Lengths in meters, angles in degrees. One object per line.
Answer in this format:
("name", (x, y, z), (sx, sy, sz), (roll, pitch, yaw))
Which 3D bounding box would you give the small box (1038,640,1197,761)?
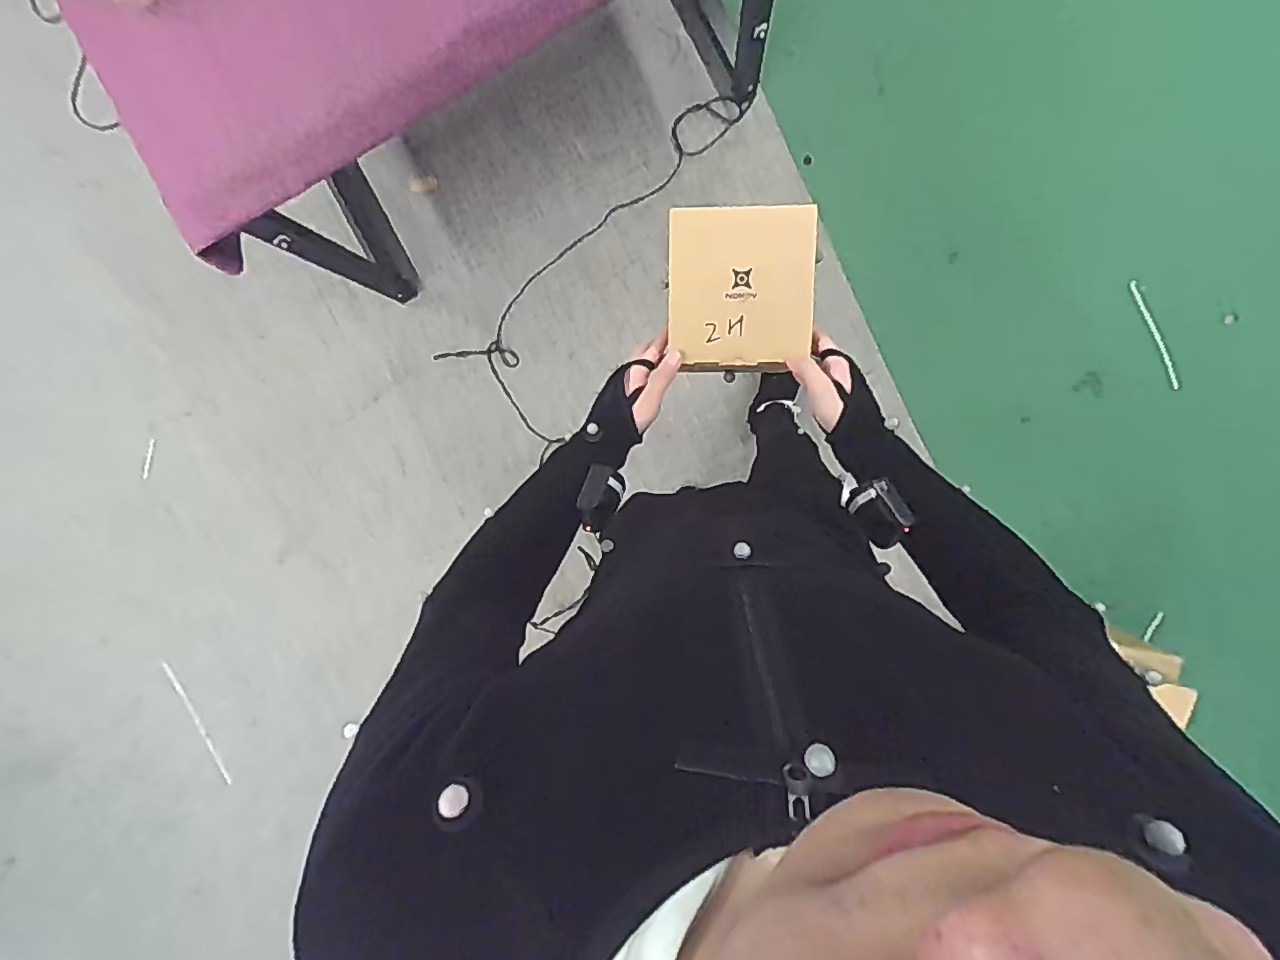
("small box", (1.015, 0.465, 1.169), (0.179, 0.176, 0.168), (13, 97, 4))

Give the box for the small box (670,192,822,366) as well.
("small box", (0.122, -0.241, 0.687), (0.168, 0.176, 0.179), (1, 98, 5))
